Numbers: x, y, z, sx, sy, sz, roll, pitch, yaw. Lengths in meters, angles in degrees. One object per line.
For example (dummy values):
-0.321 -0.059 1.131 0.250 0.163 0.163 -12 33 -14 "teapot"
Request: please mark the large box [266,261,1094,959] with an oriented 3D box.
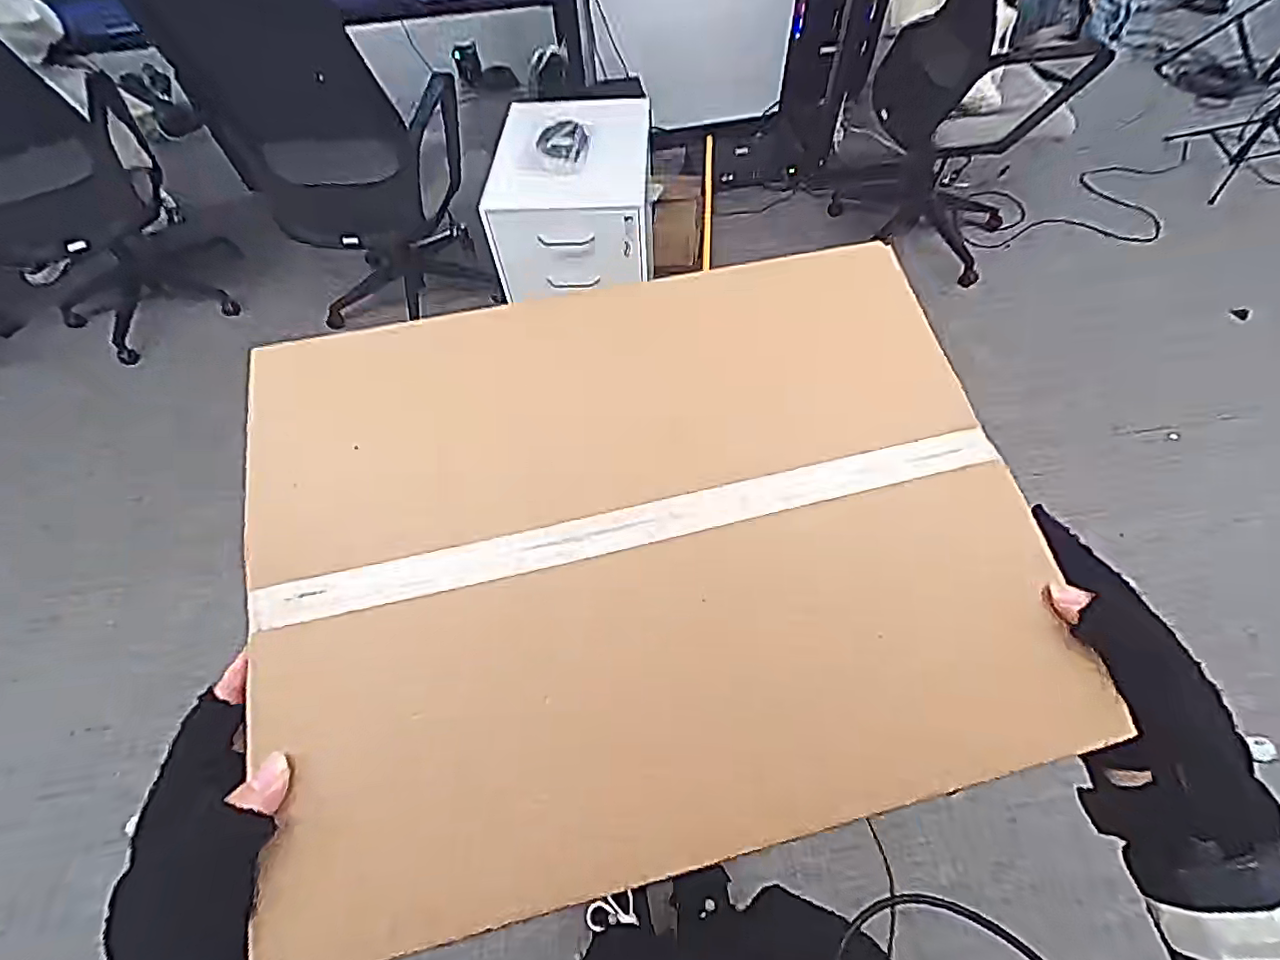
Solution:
0.001 0.083 0.438 0.408 0.320 0.320 -13 70 -6 "large box"
